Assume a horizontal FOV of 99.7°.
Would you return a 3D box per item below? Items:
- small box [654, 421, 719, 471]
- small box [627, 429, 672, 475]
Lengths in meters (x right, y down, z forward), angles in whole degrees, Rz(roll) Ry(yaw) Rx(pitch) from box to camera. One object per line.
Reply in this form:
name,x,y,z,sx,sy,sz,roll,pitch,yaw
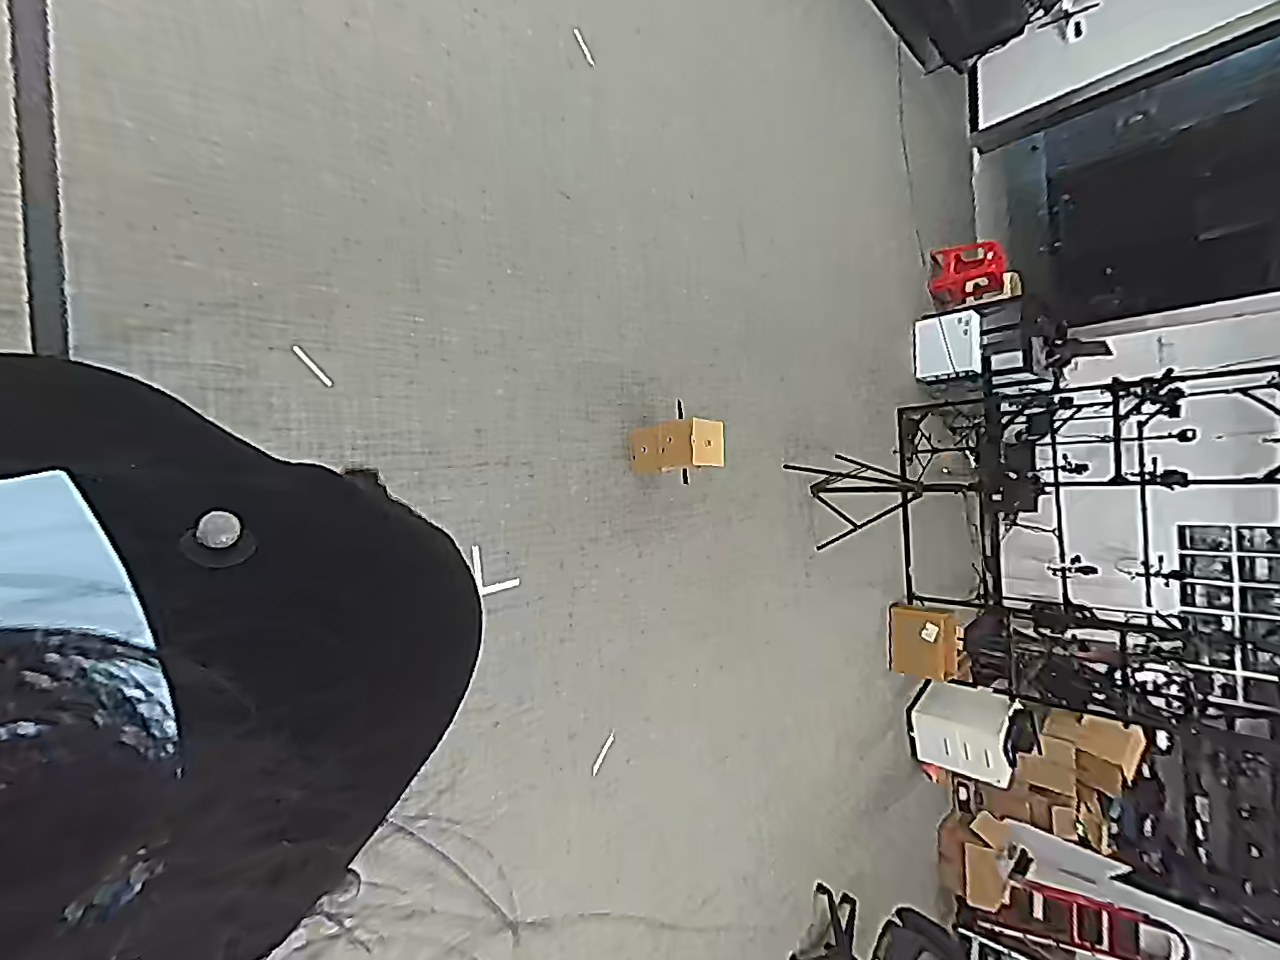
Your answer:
small box,0.172,-0.121,1.983,0.179,0.176,0.168,2,87,-44
small box,0.062,-0.110,2.103,0.179,0.176,0.168,-8,94,-45
